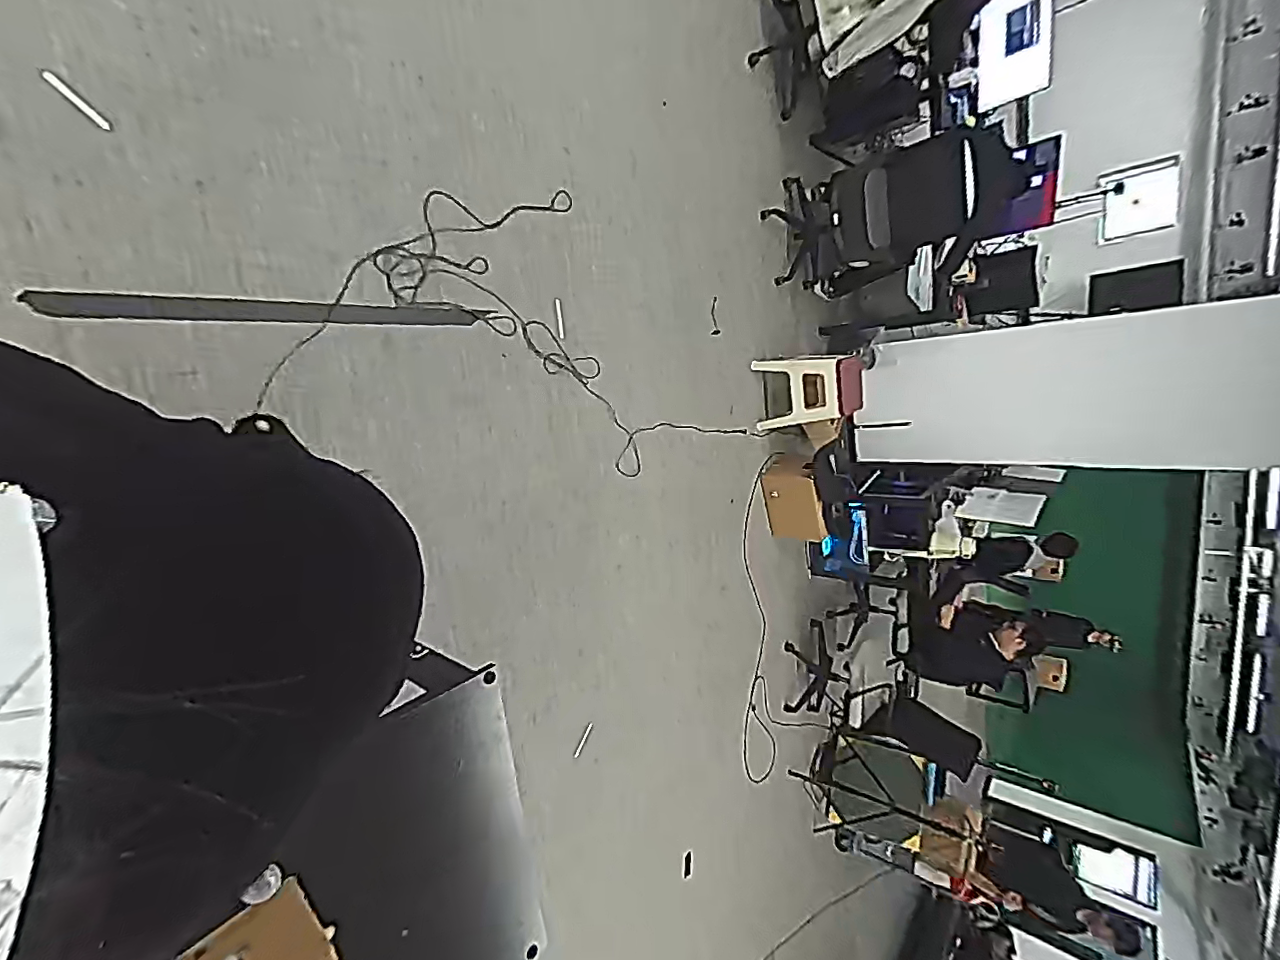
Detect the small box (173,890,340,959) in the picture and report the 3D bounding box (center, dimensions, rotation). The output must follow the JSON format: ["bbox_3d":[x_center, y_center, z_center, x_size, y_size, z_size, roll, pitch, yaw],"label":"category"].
[{"bbox_3d":[-0.448,0.630,0.630,0.168,0.176,0.179,-24,109,-45],"label":"small box"}]
